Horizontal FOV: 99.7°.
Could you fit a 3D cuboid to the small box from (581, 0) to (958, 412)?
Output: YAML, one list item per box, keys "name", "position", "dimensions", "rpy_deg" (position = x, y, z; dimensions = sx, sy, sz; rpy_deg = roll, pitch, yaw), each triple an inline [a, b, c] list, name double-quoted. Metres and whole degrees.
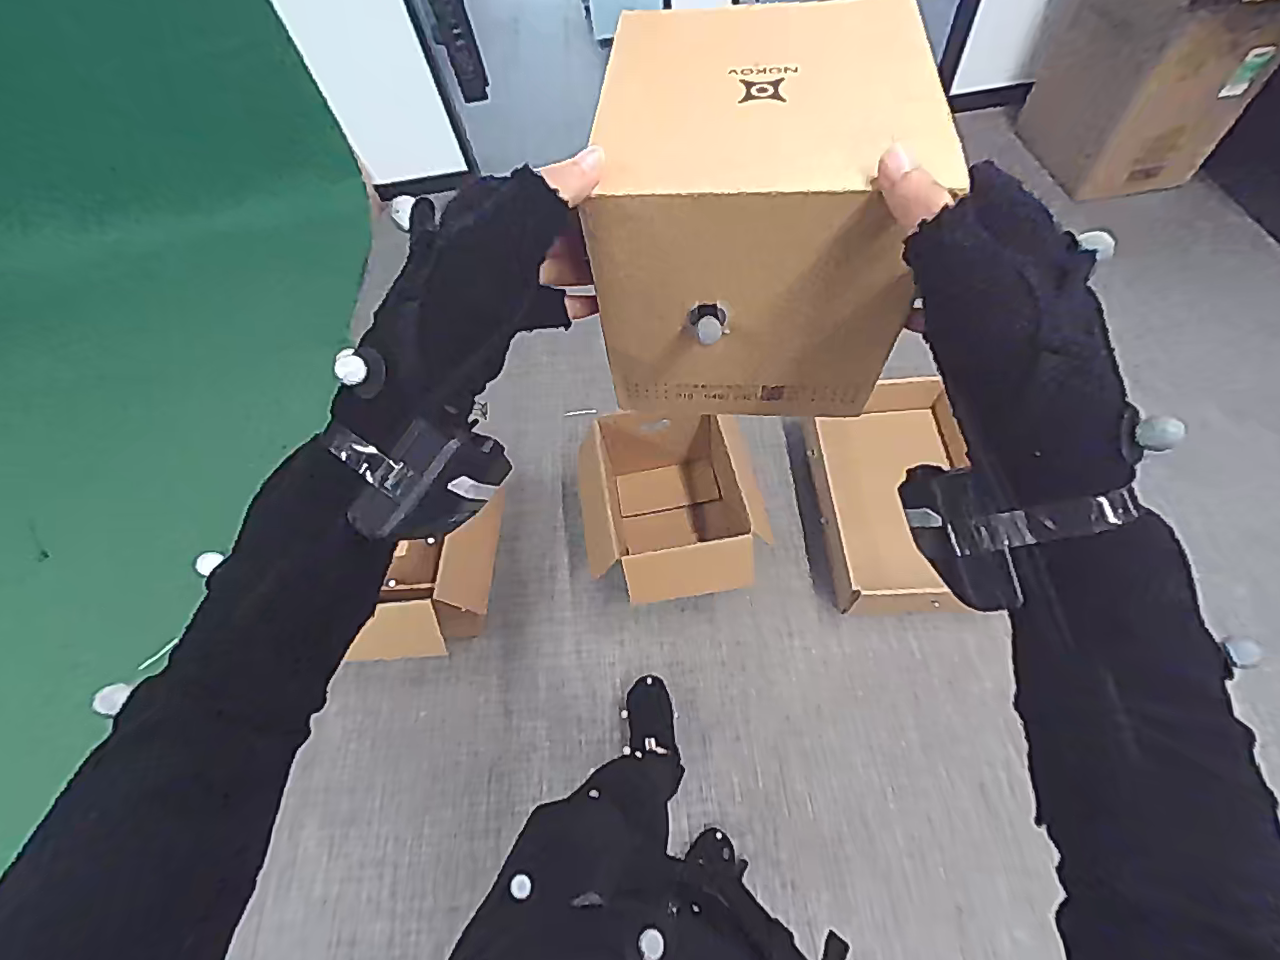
- name: "small box"
  position: [0.069, -0.158, 0.344]
  dimensions: [0.168, 0.176, 0.179]
  rpy_deg: [2, 61, 7]
